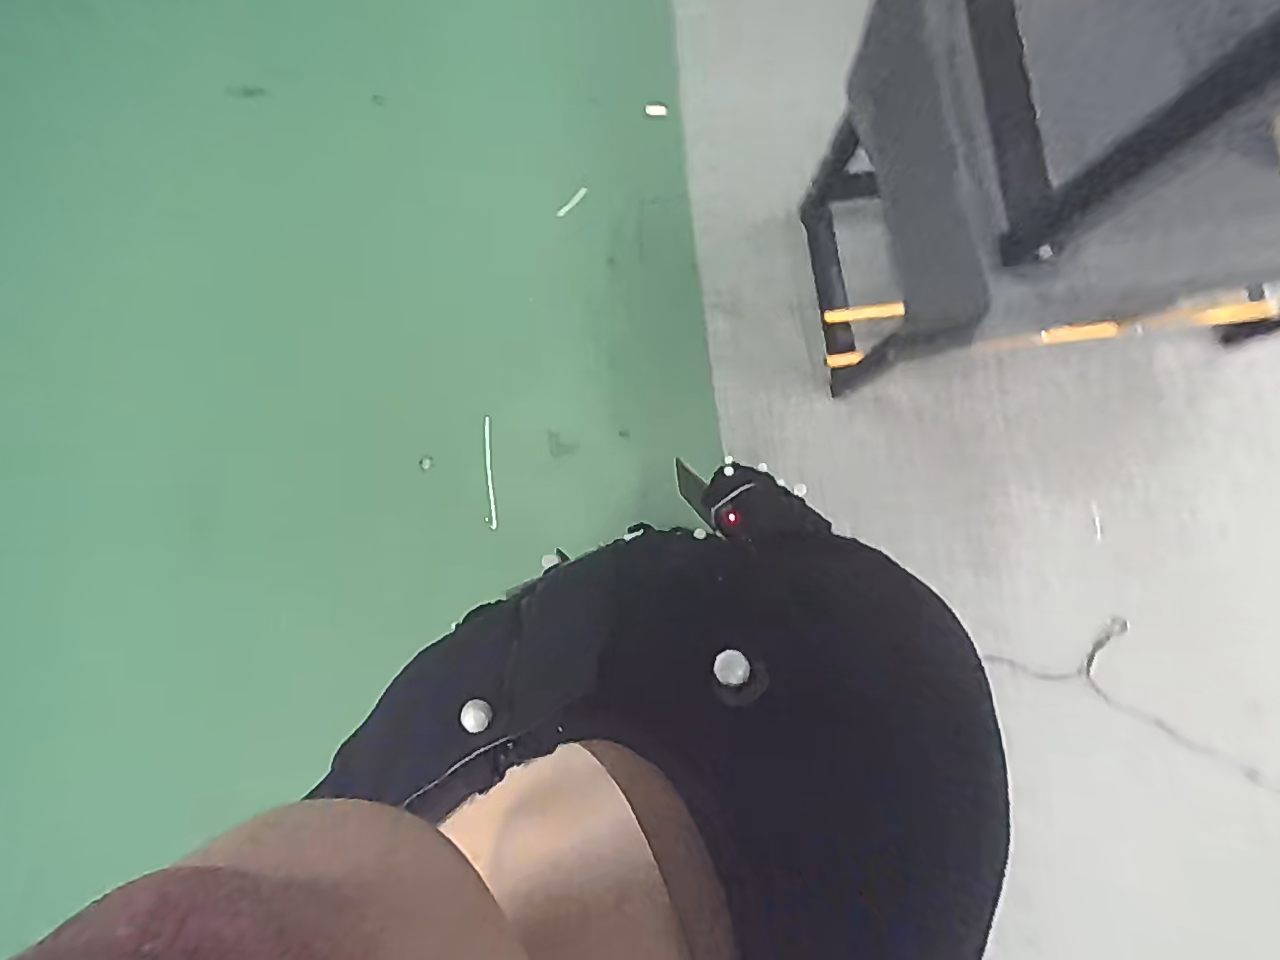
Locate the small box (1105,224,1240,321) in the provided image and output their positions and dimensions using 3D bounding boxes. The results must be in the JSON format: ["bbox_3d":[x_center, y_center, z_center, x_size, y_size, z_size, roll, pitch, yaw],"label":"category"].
[{"bbox_3d":[1.316,-0.507,1.347,0.168,0.176,0.179,-4,86,0],"label":"small box"}]
